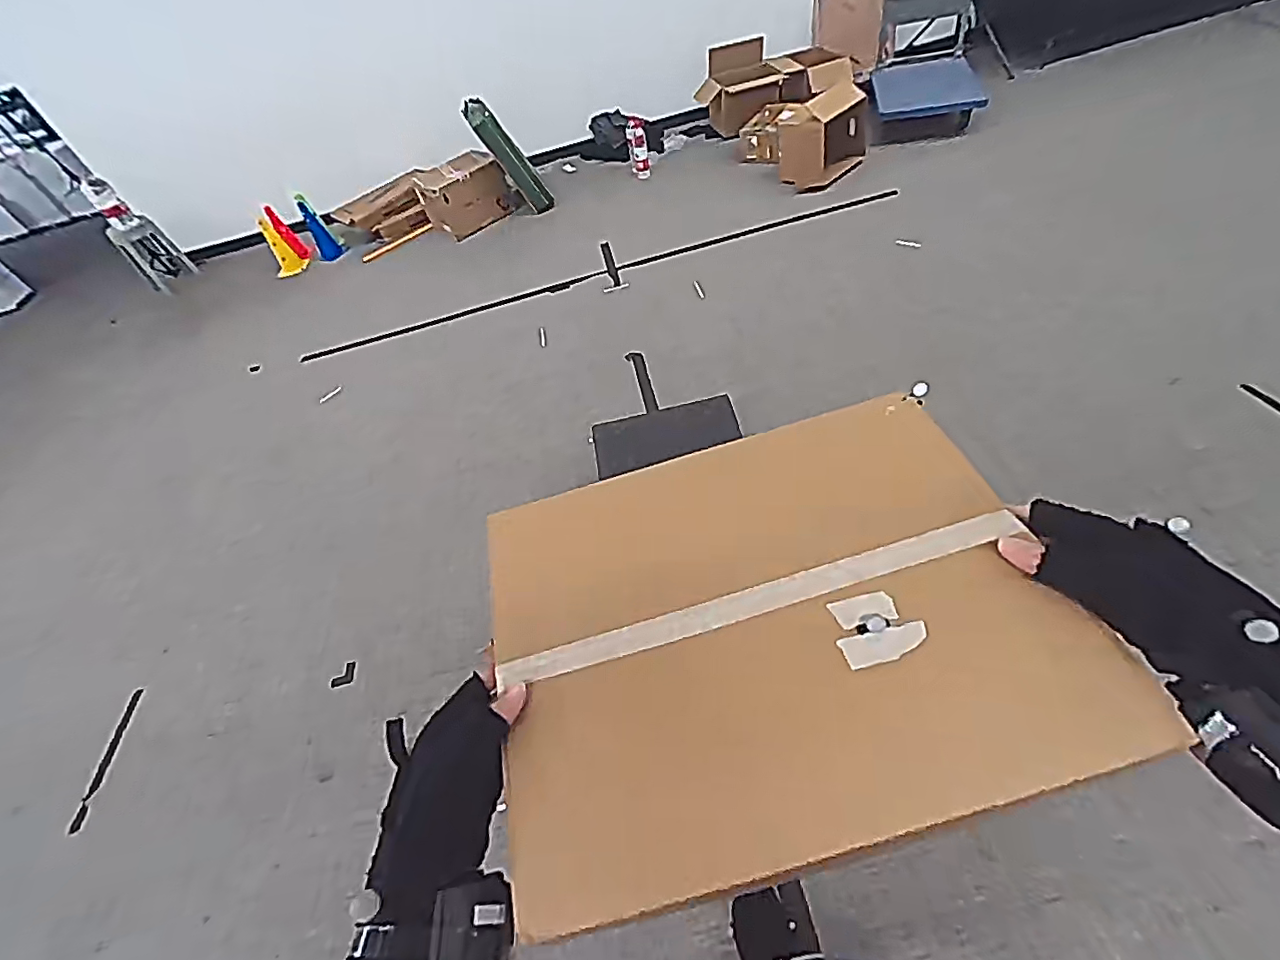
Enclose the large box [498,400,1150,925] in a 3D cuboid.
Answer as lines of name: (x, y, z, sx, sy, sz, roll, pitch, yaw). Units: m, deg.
large box: (0.114, 0.184, 0.534, 0.408, 0.320, 0.320, -17, 52, -1)
